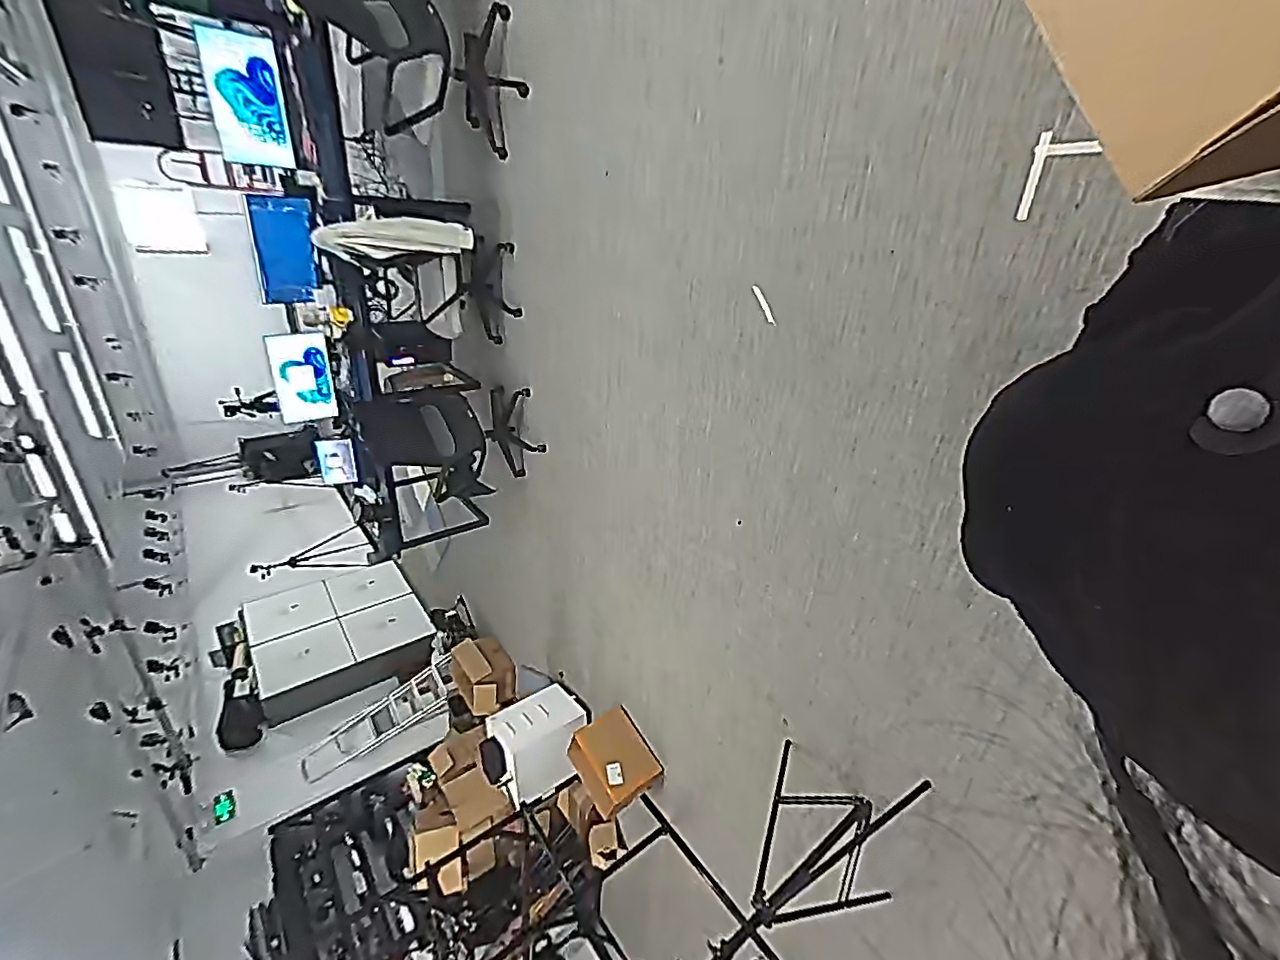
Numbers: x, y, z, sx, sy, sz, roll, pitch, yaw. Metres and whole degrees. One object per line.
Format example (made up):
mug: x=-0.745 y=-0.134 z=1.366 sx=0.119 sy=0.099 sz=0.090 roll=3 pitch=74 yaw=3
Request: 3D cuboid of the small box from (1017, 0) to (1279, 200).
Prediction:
small box: x=0.297 y=-0.253 z=0.210 sx=0.168 sy=0.176 sz=0.179 roll=111 pitch=143 yaw=-77
